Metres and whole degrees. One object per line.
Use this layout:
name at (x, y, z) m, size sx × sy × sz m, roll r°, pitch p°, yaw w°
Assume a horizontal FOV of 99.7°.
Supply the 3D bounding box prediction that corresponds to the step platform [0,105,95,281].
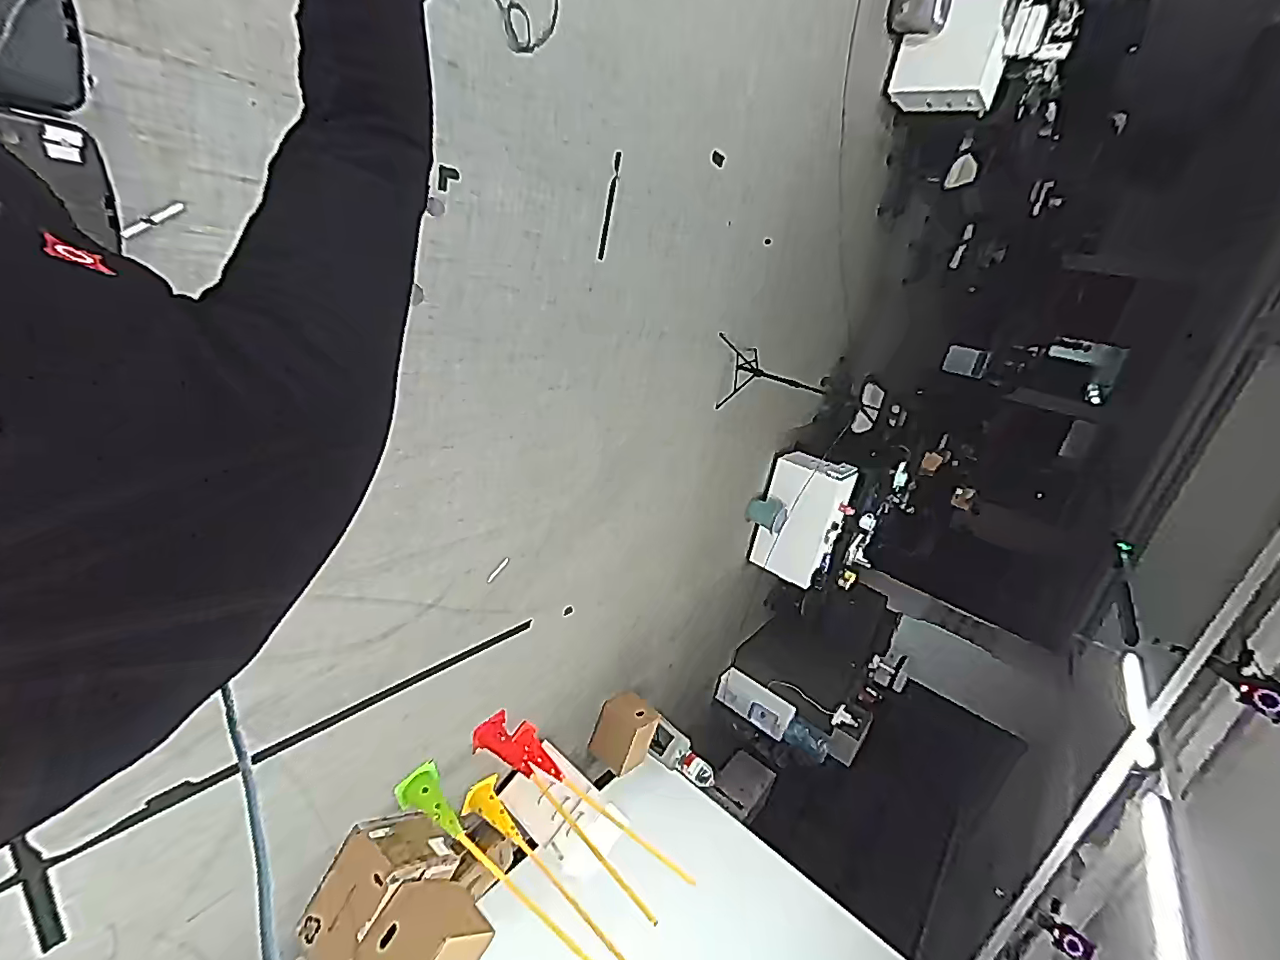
step platform at (-1.298, -0.471, 0.805) m, size 0.684 × 0.204 × 0.286 m, roll -17°, pitch 125°, yaw -48°
